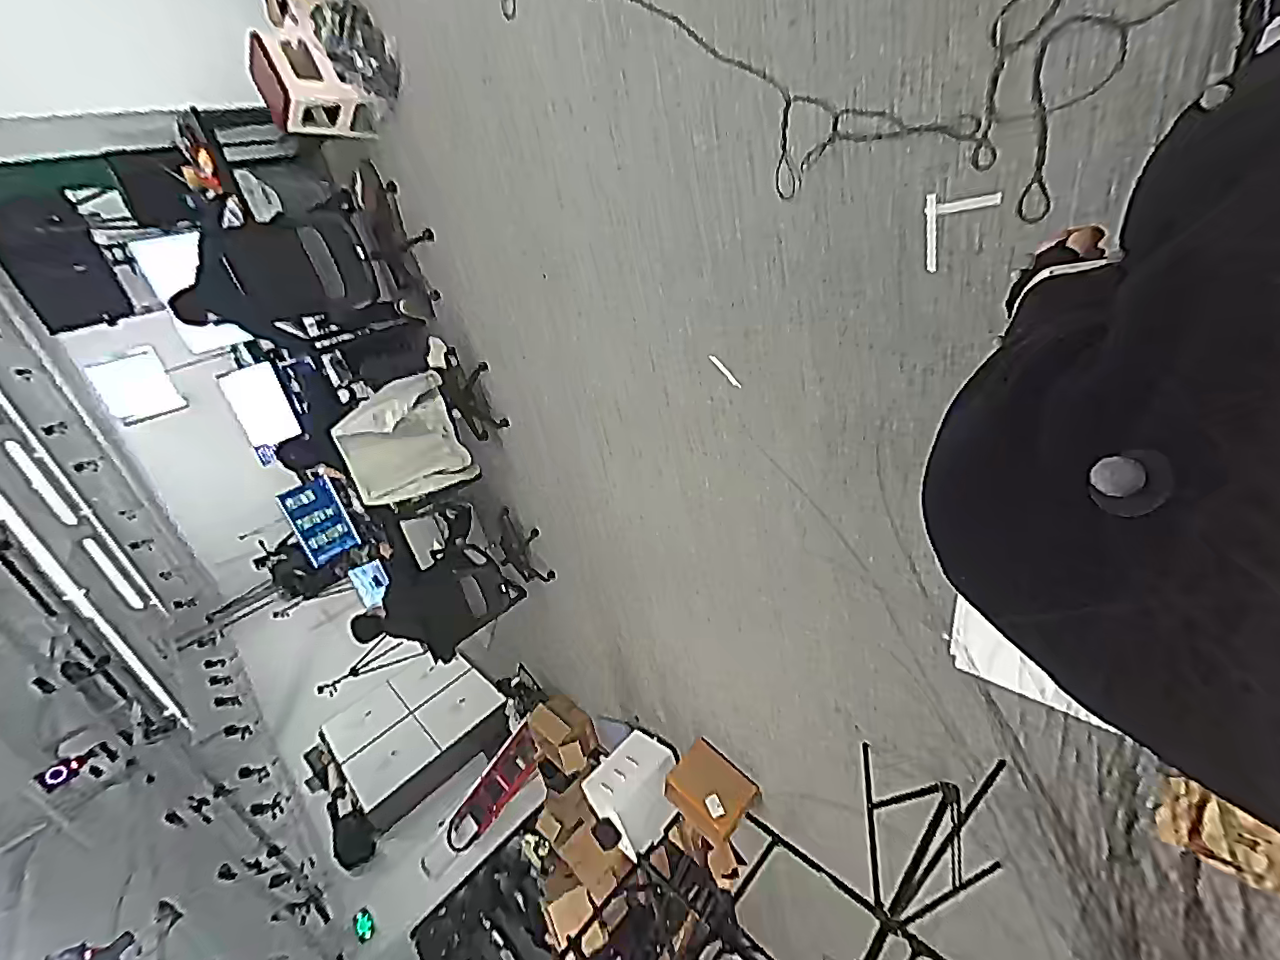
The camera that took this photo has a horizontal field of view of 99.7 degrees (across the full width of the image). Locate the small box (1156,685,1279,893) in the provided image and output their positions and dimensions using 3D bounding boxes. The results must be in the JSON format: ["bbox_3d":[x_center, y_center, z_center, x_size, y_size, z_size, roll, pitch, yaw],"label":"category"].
[{"bbox_3d":[0.856,0.423,0.744,0.168,0.176,0.179,19,129,44],"label":"small box"}]
